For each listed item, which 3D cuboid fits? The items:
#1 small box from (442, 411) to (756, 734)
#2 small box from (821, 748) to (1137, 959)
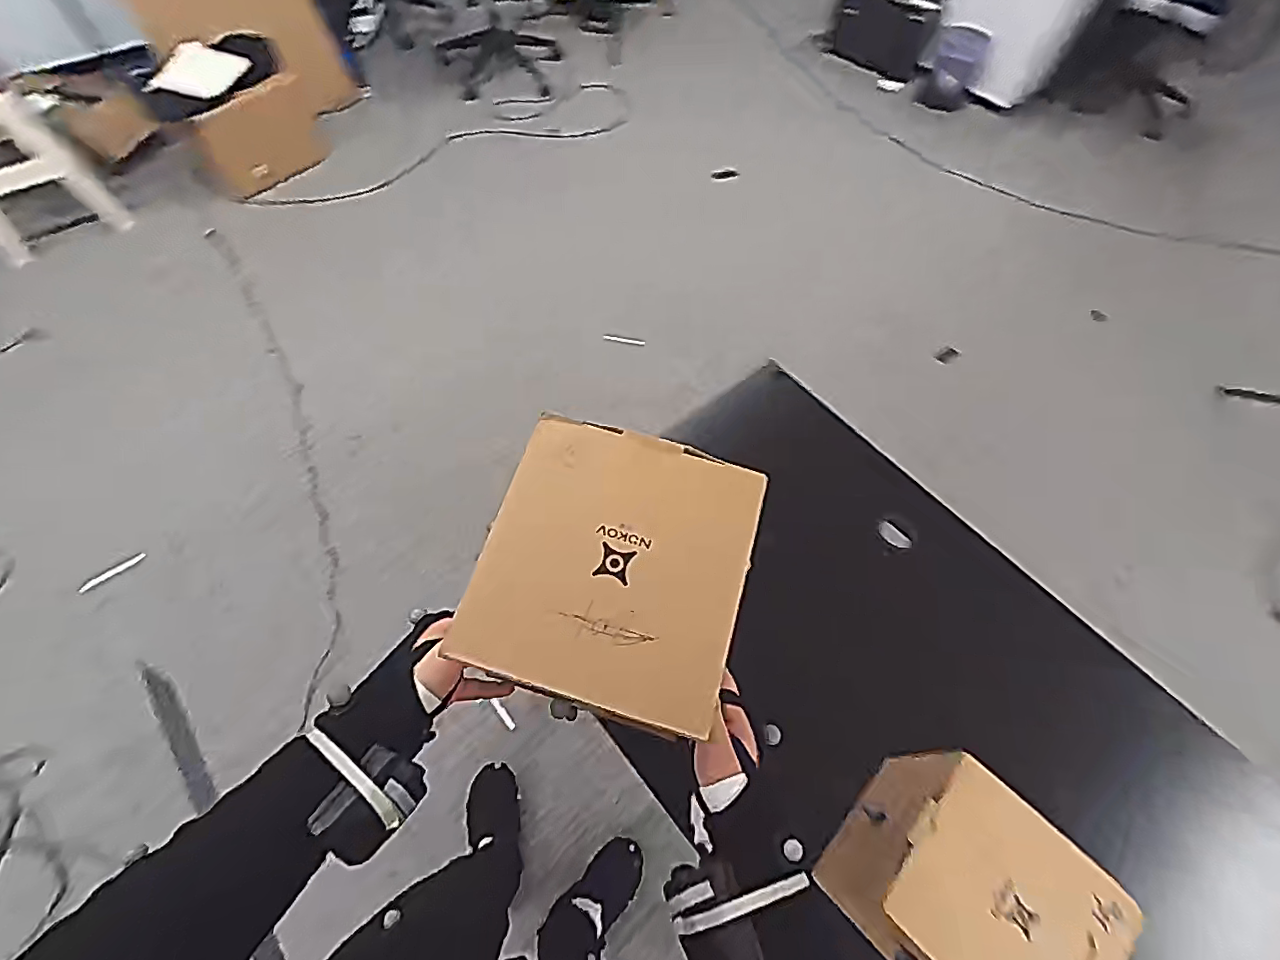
[{"bbox_3d":[-0.024,0.078,0.420,0.168,0.176,0.179,15,68,3],"label":"small box"},{"bbox_3d":[0.312,0.403,0.536,0.179,0.176,0.168,42,65,19],"label":"small box"}]
